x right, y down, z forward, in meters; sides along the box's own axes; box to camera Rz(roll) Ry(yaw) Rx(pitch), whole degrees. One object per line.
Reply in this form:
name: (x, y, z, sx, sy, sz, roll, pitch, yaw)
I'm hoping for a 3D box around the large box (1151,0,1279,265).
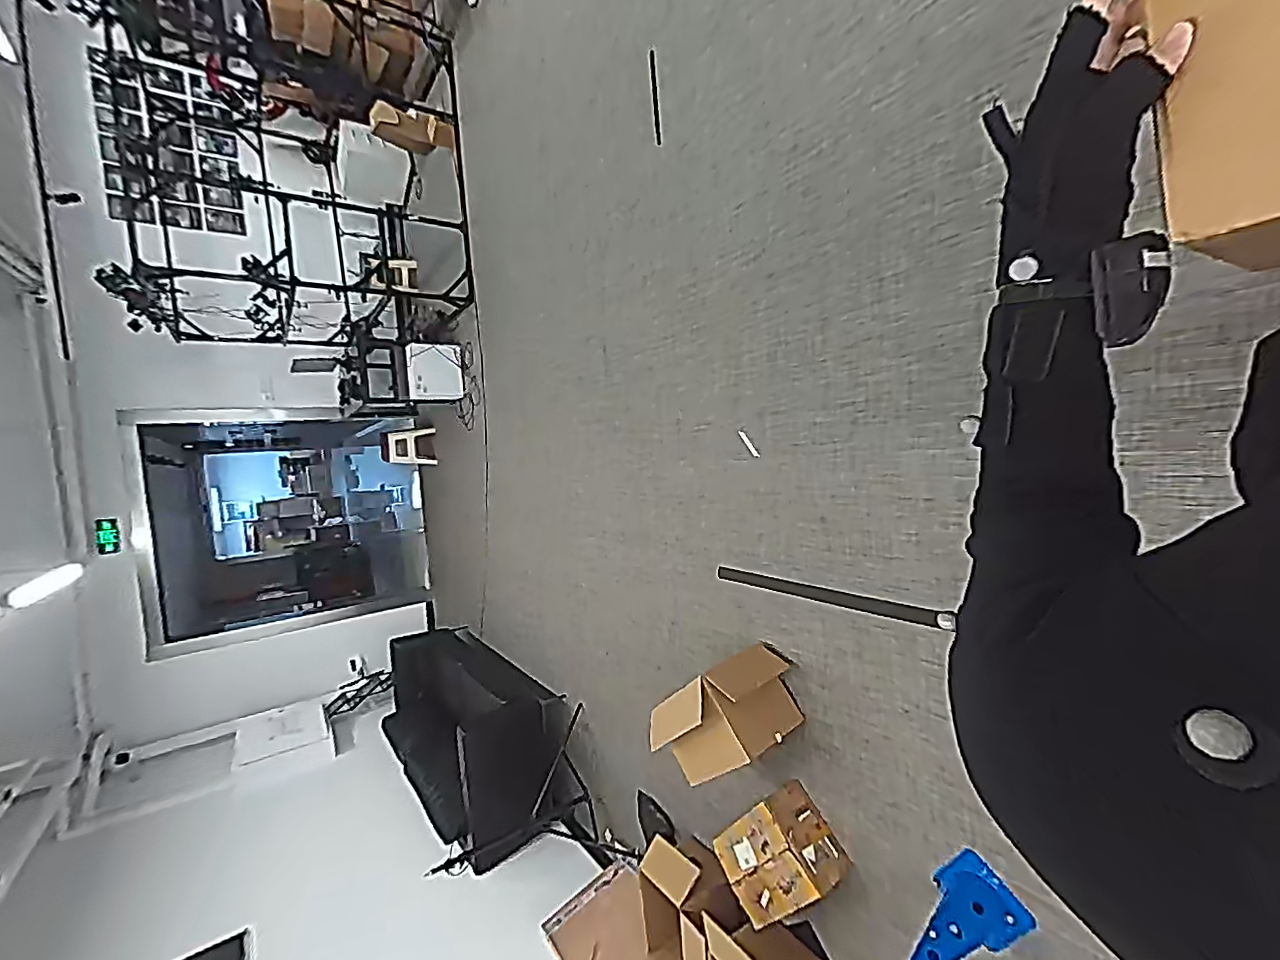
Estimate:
large box: (0.525, -0.330, 0.240, 0.408, 0.320, 0.320, -5, 96, 54)
